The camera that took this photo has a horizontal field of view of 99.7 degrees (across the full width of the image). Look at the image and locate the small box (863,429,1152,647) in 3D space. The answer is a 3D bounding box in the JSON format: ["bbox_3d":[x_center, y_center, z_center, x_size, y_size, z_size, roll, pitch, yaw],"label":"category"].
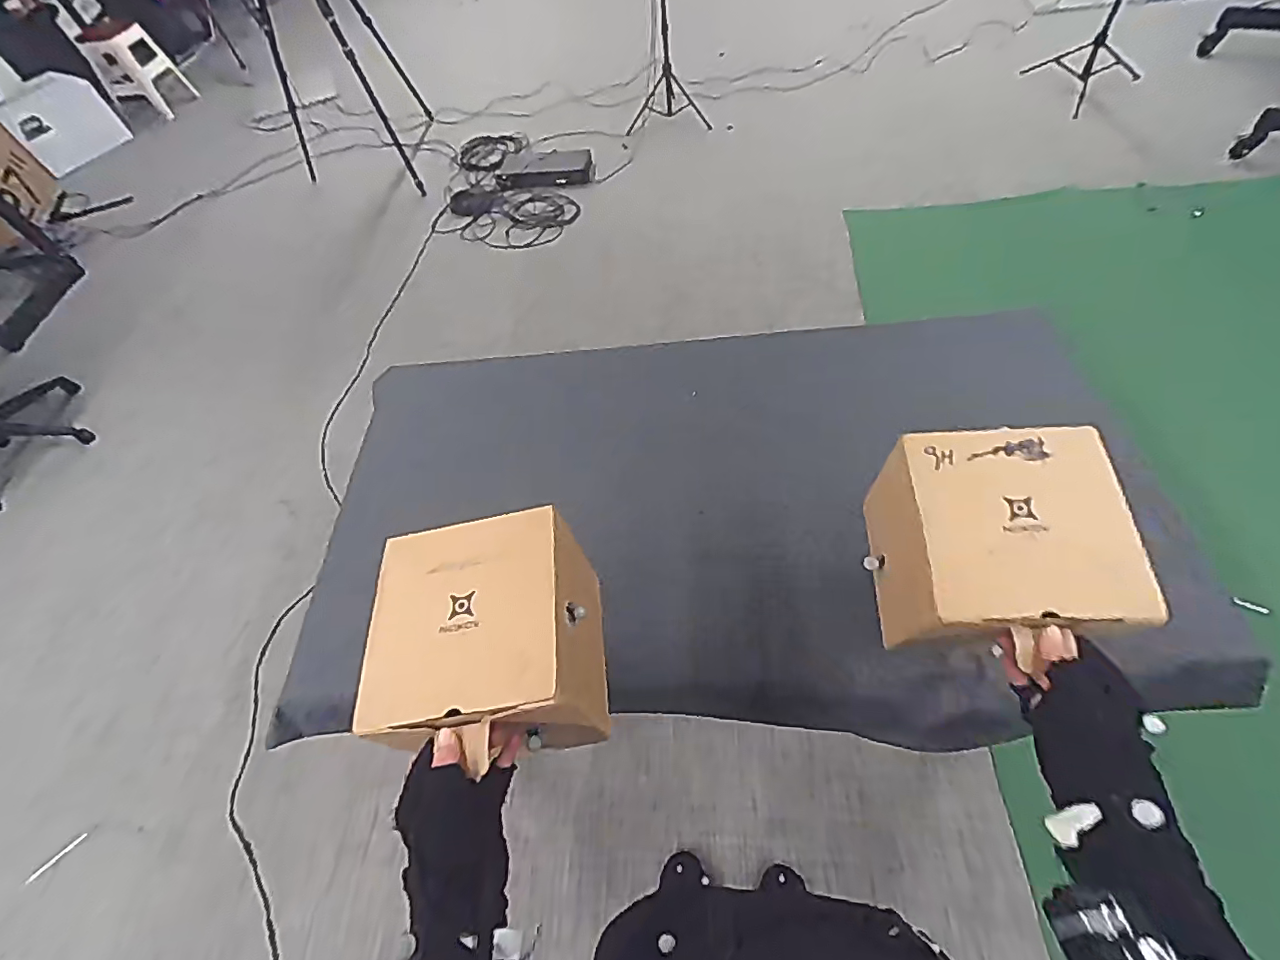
[{"bbox_3d":[0.332,0.066,0.535,0.168,0.176,0.179,-1,66,8],"label":"small box"}]

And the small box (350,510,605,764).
[{"bbox_3d":[-0.134,0.157,0.512,0.168,0.176,0.179,-12,53,4],"label":"small box"}]
